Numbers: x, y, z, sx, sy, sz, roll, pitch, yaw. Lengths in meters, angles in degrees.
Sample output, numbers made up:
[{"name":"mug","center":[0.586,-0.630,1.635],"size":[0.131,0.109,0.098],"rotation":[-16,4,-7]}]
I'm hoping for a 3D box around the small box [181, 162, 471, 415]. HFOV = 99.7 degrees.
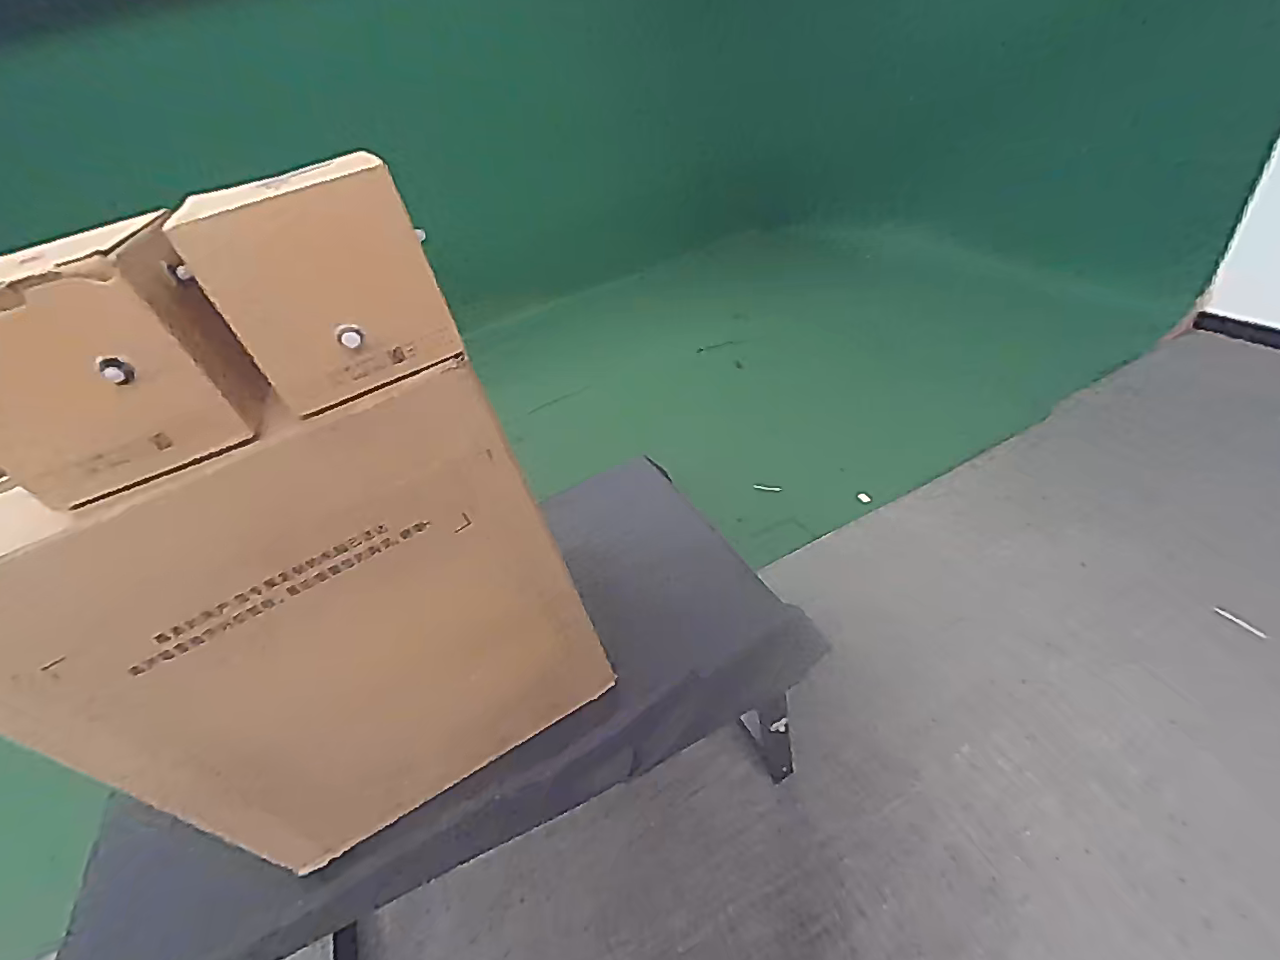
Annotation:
[{"name":"small box","center":[-0.287,-0.189,0.526],"size":[0.168,0.176,0.179],"rotation":[-27,42,-14]}]
